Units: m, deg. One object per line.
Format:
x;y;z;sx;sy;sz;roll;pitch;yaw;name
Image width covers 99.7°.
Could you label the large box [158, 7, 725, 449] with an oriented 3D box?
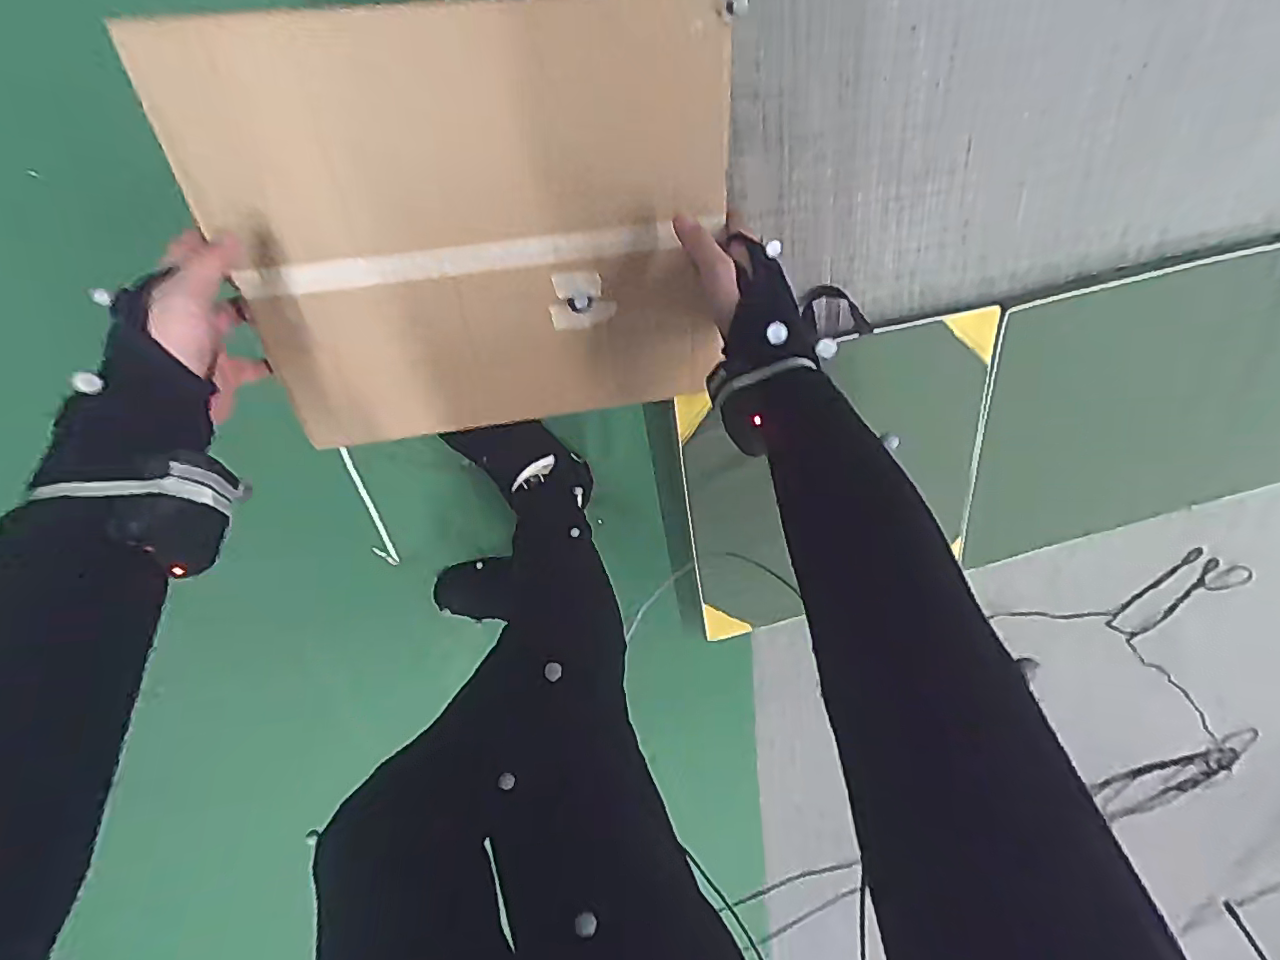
-0.149;-0.269;0.586;0.408;0.320;0.320;-10;125;-7;large box
